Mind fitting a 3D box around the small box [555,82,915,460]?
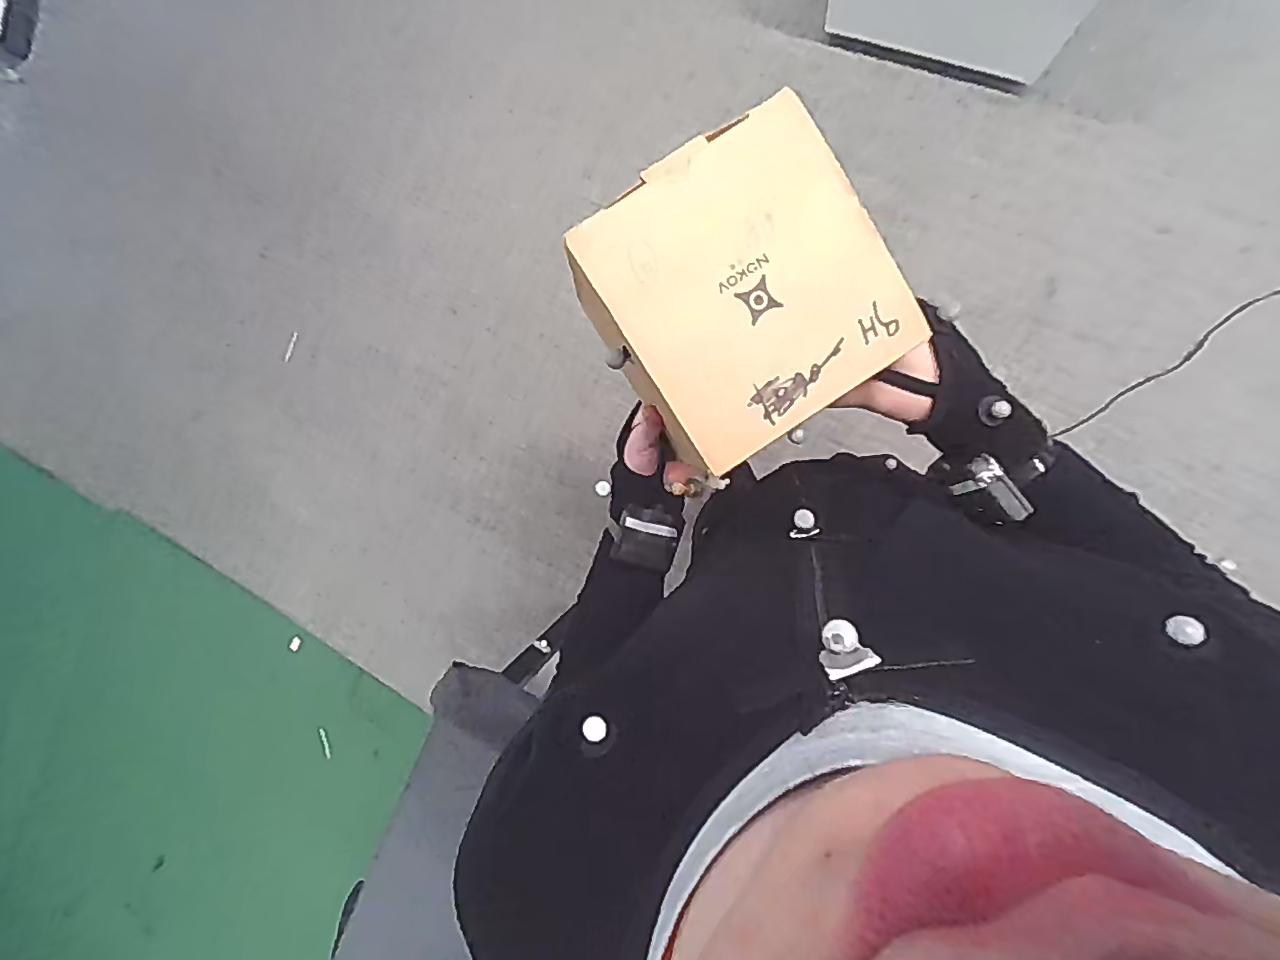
[{"bbox_3d":[0.055,-0.131,0.409,0.168,0.176,0.179,-33,96,0],"label":"small box"}]
